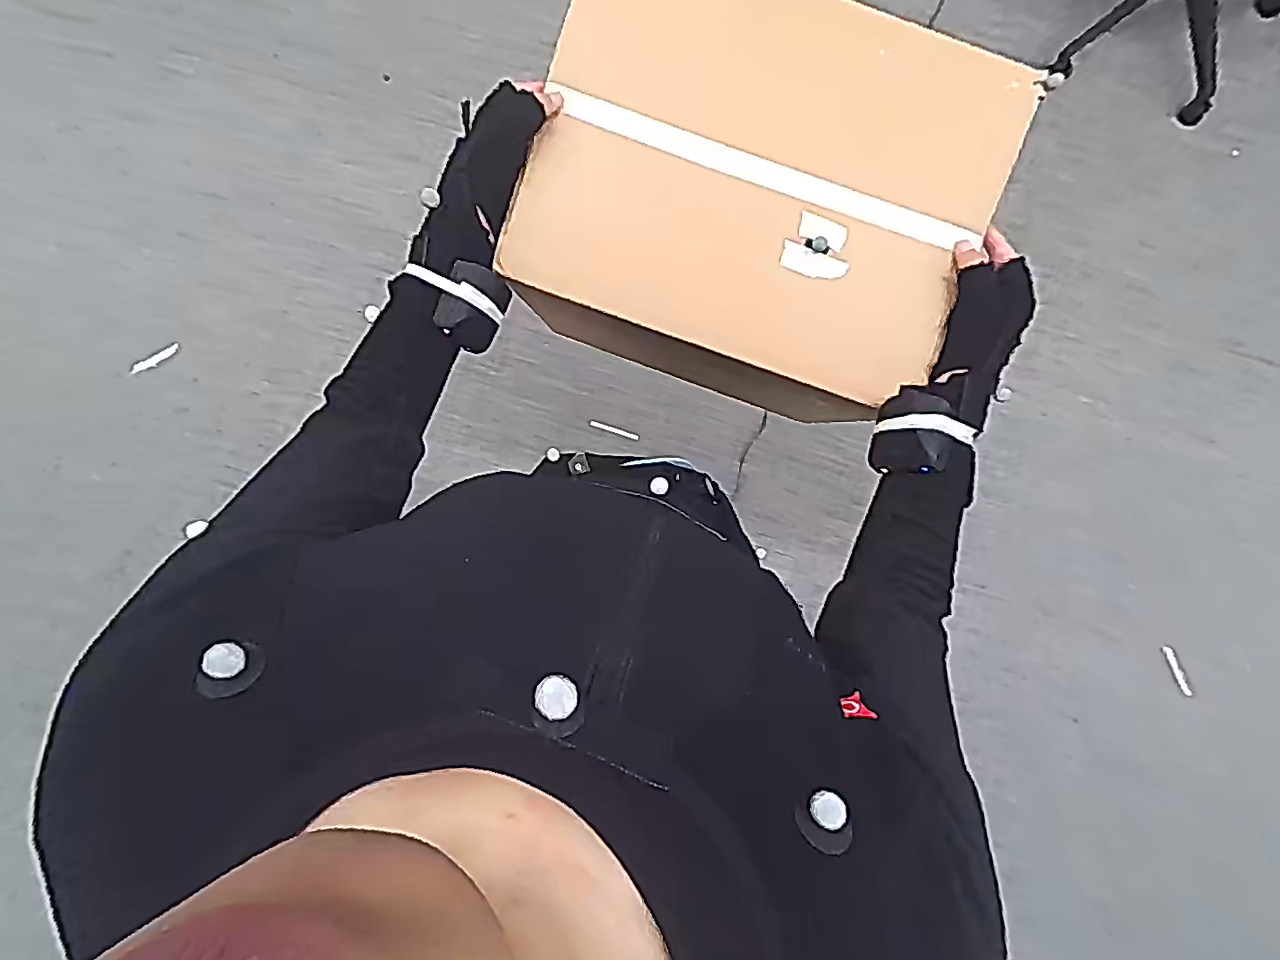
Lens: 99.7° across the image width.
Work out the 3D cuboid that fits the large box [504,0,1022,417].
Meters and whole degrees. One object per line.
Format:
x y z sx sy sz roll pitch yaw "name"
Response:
0.105 -0.283 0.635 0.408 0.320 0.320 19 96 -2 "large box"
